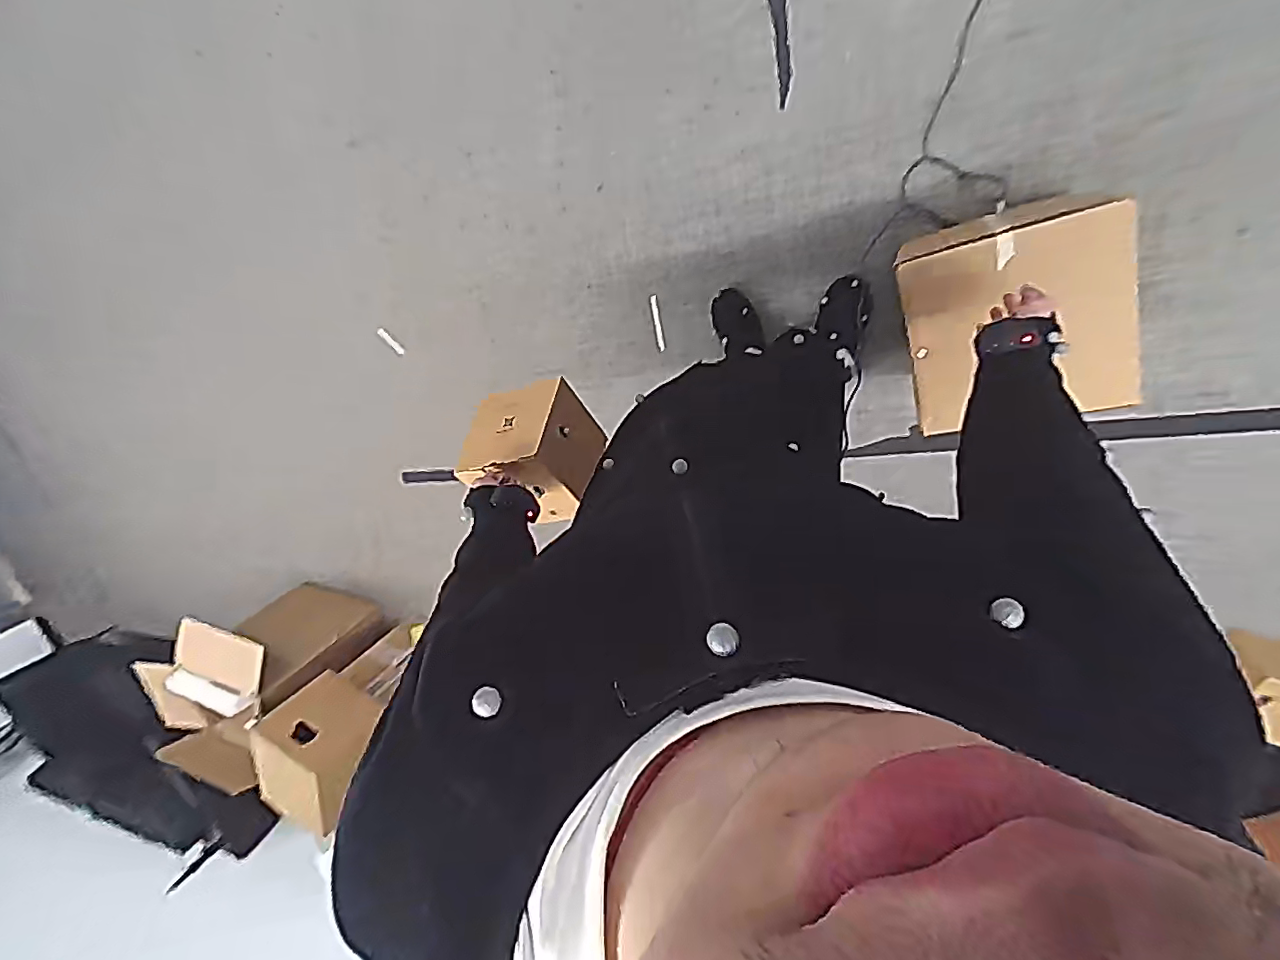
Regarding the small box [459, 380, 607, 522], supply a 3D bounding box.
[{"bbox_3d":[-0.174,-0.040,0.939,0.168,0.179,0.176,-9,139,25],"label":"small box"}]
